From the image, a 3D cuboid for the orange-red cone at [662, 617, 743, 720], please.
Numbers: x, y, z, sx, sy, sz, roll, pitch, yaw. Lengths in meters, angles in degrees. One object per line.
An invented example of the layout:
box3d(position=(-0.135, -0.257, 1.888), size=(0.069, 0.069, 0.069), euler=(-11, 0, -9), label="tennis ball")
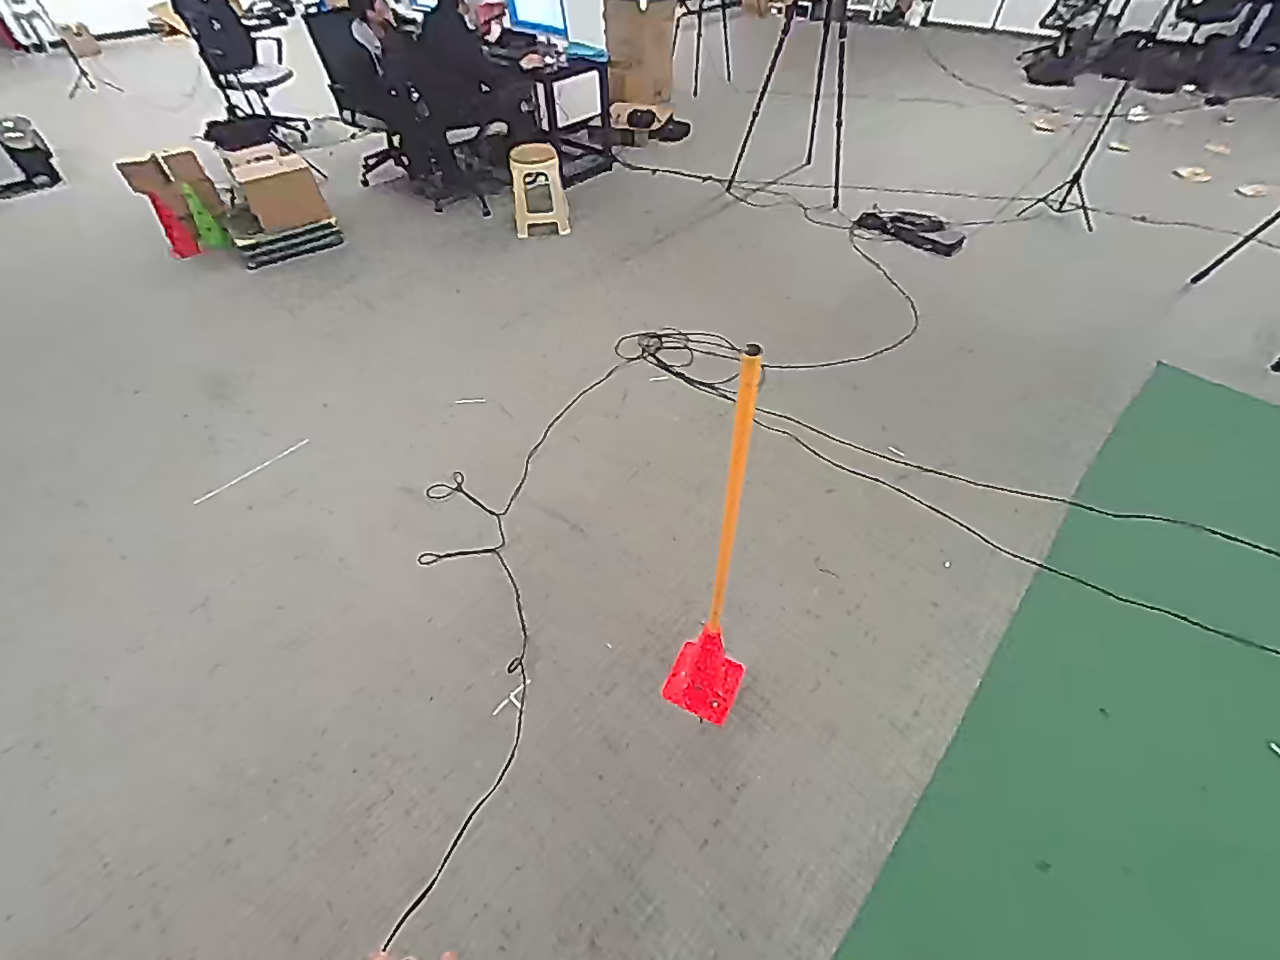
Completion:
box3d(position=(0.186, 0.474, 1.486), size=(0.198, 0.360, 0.199), euler=(22, 52, 18), label="orange-red cone")
